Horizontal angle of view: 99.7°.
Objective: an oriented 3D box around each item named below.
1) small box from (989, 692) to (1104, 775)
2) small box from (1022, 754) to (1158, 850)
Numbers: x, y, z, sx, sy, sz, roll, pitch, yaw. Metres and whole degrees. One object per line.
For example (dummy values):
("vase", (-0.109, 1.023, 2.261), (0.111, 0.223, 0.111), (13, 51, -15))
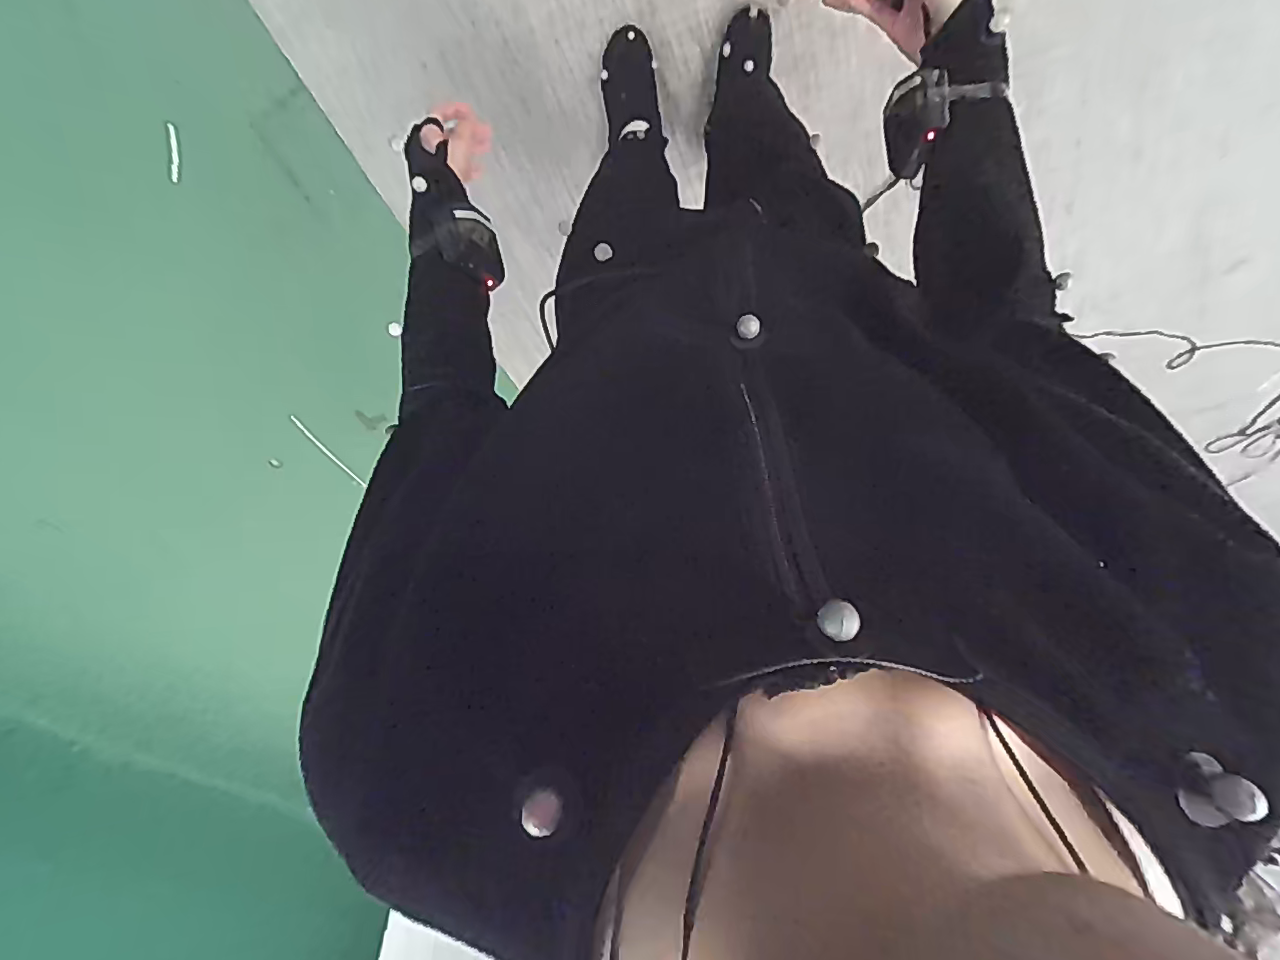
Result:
("small box", (1.124, 0.716, 1.504), (0.168, 0.176, 0.179), (34, 121, -30))
("small box", (1.131, 0.816, 1.372), (0.168, 0.176, 0.179), (23, 128, -24))
